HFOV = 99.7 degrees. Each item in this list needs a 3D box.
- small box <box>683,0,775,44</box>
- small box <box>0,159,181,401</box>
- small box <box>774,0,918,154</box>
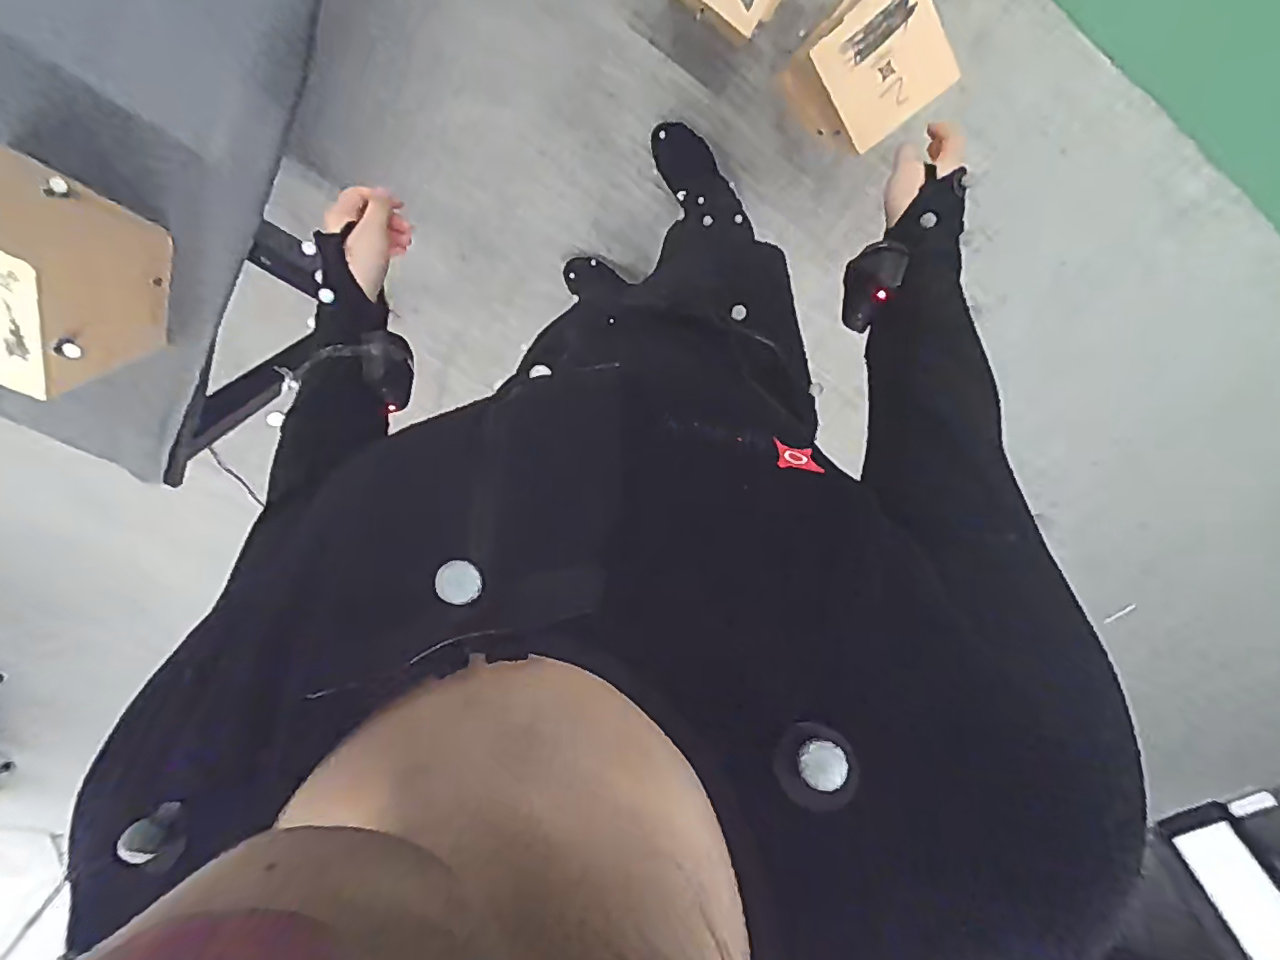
[{"bbox_3d":[0.165,-0.897,0.936,0.179,0.176,0.168,29,122,-13],"label":"small box"},{"bbox_3d":[-0.660,-0.223,0.588,0.179,0.176,0.168,28,122,-14],"label":"small box"},{"bbox_3d":[0.376,-0.756,1.014,0.179,0.176,0.168,37,120,-19],"label":"small box"}]
